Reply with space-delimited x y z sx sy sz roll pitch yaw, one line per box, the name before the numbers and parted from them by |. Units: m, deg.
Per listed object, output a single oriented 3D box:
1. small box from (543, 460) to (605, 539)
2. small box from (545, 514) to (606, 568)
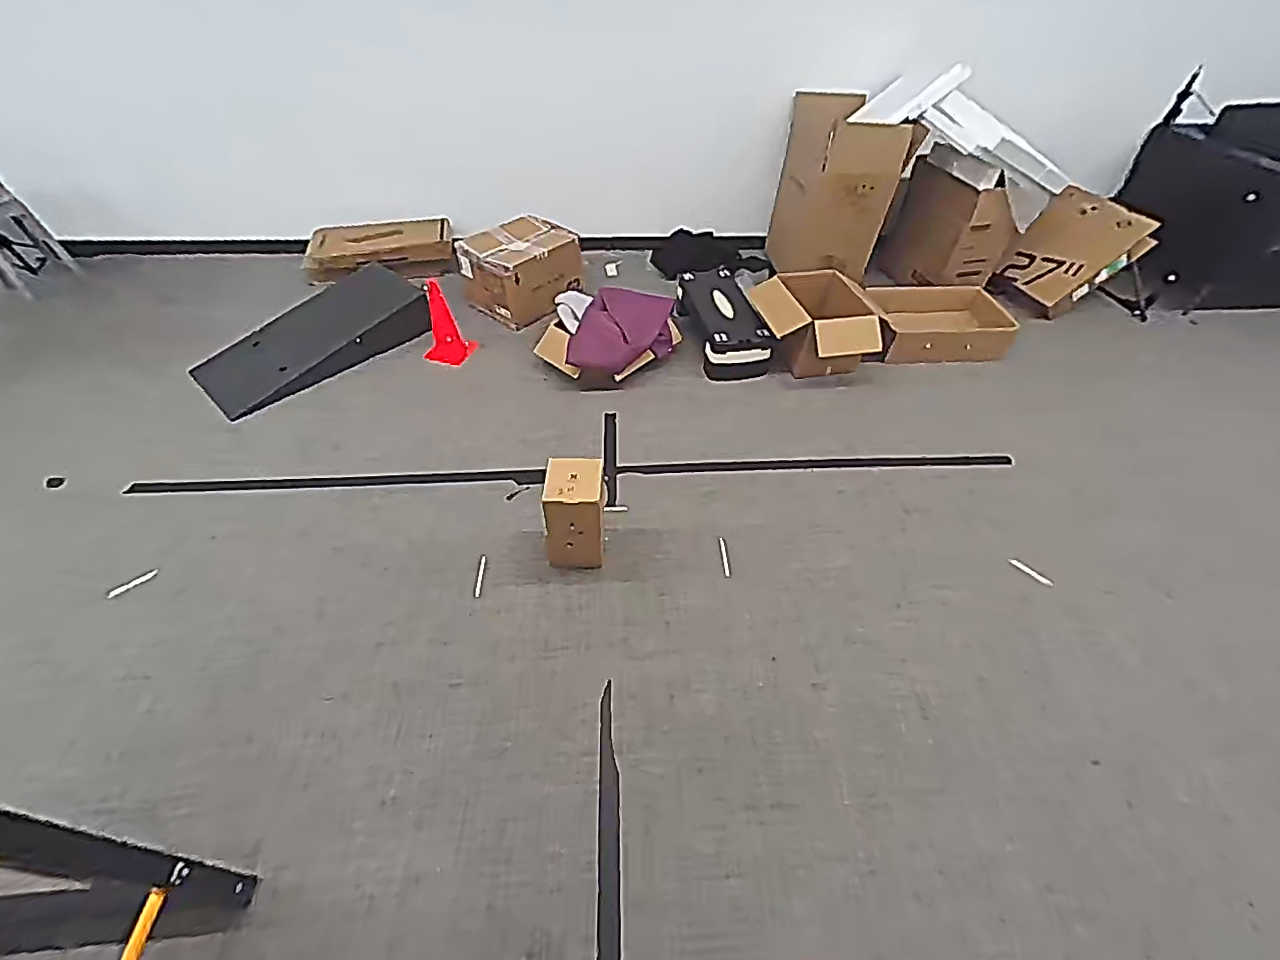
small box | -0.194 0.058 1.647 0.168 0.176 0.179 1 48 0
small box | -0.205 0.174 1.765 0.179 0.176 0.168 2 47 -1
